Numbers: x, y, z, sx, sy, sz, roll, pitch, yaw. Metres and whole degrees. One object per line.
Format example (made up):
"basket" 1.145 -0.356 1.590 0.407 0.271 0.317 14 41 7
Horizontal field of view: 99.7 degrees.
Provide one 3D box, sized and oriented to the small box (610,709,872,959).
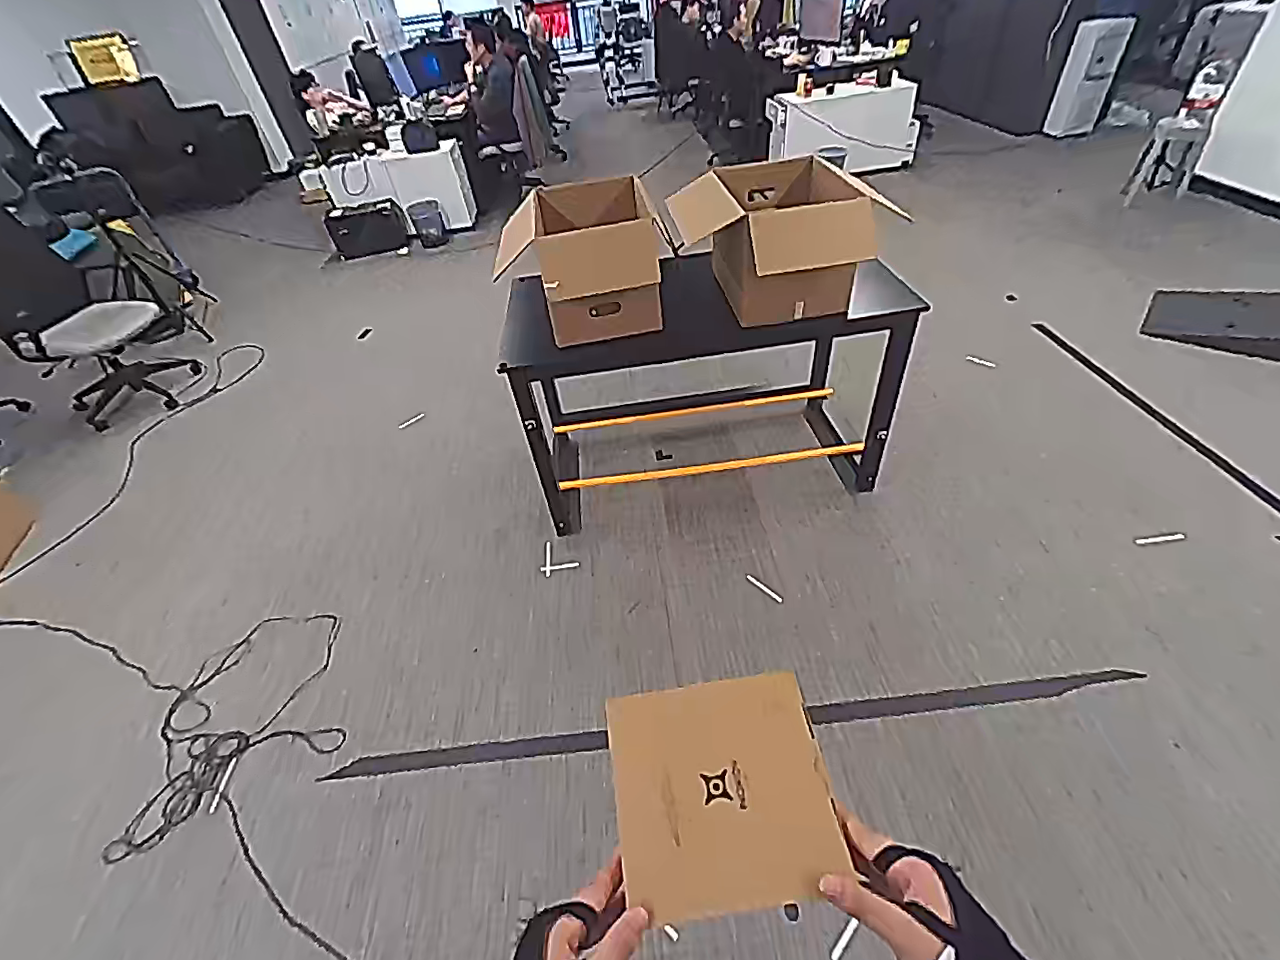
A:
"small box" 0.075 0.326 0.493 0.179 0.176 0.168 -10 53 -2
